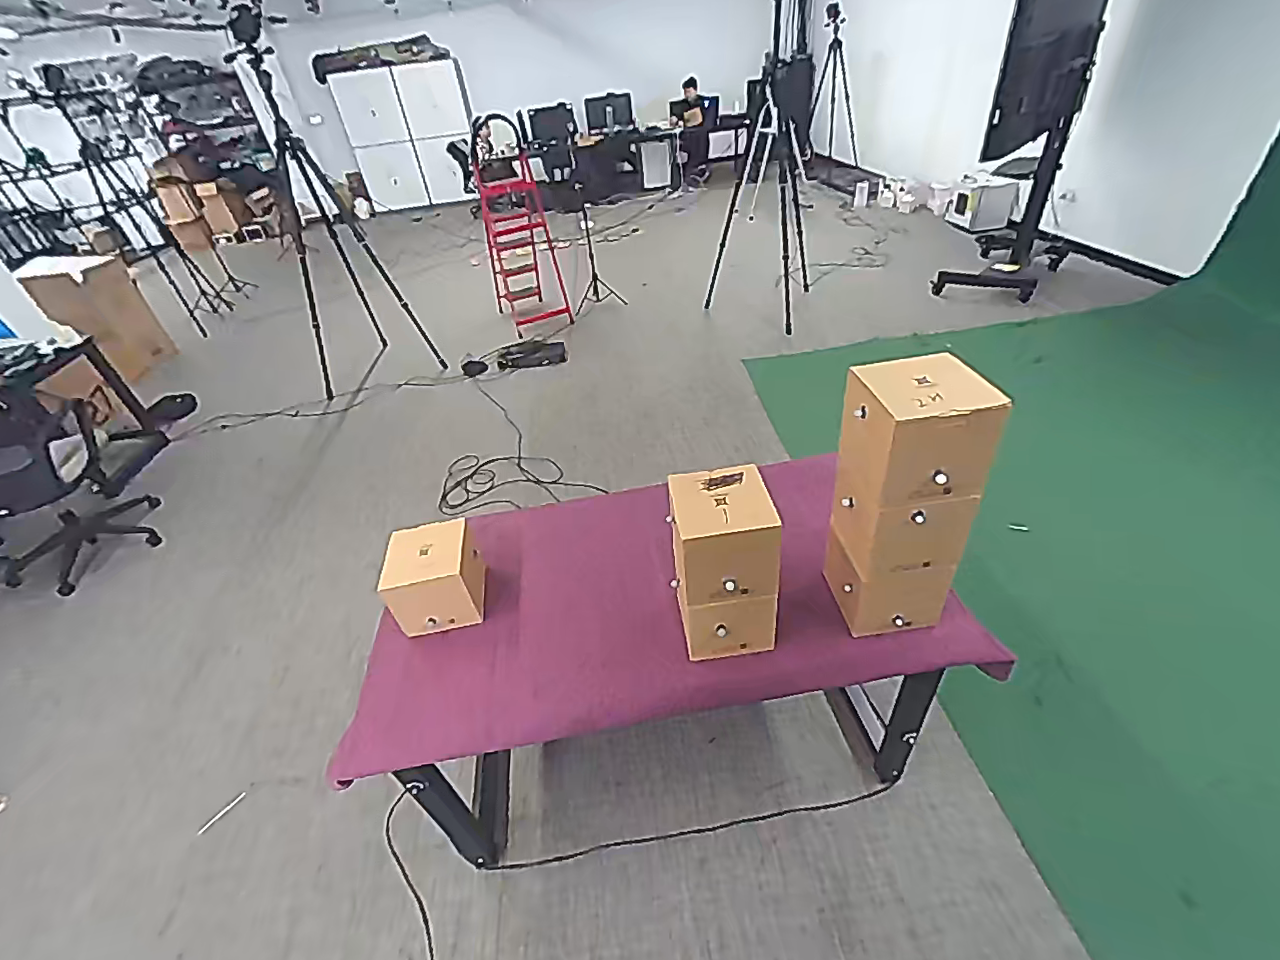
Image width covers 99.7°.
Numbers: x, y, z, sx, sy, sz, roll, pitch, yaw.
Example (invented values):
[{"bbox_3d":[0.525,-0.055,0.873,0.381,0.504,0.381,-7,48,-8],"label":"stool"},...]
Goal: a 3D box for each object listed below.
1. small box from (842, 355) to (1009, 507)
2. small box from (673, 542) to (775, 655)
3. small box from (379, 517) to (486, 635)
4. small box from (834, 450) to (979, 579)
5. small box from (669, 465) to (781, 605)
[{"bbox_3d":[0.439,-0.080,0.870,0.168,0.176,0.179,-9,38,1],"label":"small box"},{"bbox_3d":[0.163,0.228,1.069,0.168,0.176,0.179,-8,37,0],"label":"small box"},{"bbox_3d":[-0.447,0.211,1.195,0.168,0.176,0.179,-11,39,-4],"label":"small box"},{"bbox_3d":[0.460,0.051,0.968,0.168,0.176,0.179,-8,37,2],"label":"small box"},{"bbox_3d":[0.147,0.097,0.971,0.168,0.176,0.179,-8,38,0],"label":"small box"}]
